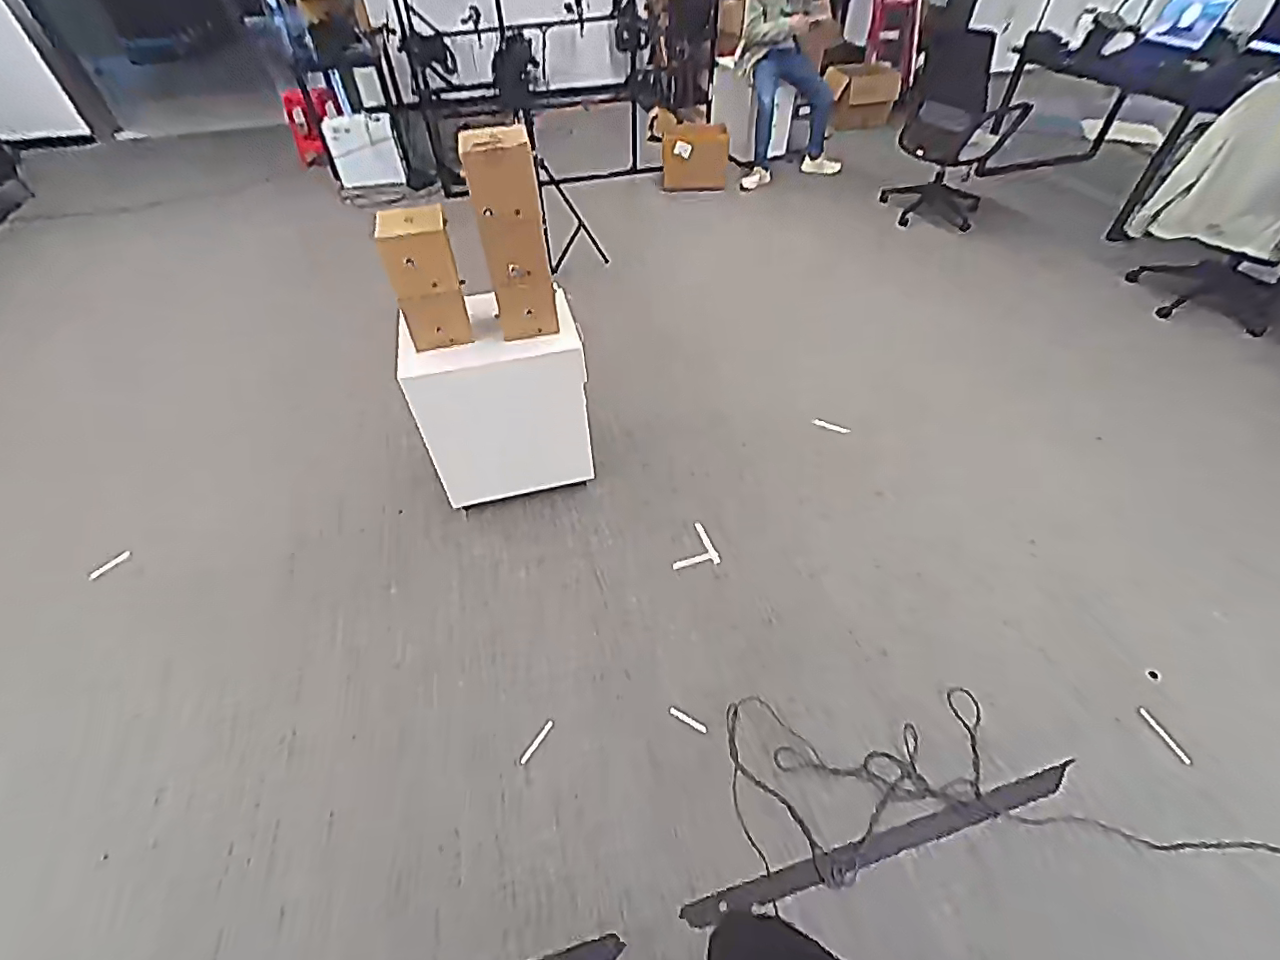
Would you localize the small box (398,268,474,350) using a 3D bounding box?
[{"bbox_3d":[-0.588,-0.501,1.563,0.168,0.176,0.179,-14,49,-11],"label":"small box"}]

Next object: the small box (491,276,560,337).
[{"bbox_3d":[-0.337,-0.539,1.592,0.168,0.176,0.179,-13,50,-8],"label":"small box"}]

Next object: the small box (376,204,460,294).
[{"bbox_3d":[-0.587,-0.610,1.442,0.168,0.176,0.179,-13,48,-11],"label":"small box"}]

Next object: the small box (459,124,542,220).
[{"bbox_3d":[-0.347,-0.765,1.355,0.168,0.176,0.179,-12,46,-7],"label":"small box"}]

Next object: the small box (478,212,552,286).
[{"bbox_3d":[-0.344,-0.656,1.478,0.168,0.176,0.179,-13,49,-8],"label":"small box"}]
